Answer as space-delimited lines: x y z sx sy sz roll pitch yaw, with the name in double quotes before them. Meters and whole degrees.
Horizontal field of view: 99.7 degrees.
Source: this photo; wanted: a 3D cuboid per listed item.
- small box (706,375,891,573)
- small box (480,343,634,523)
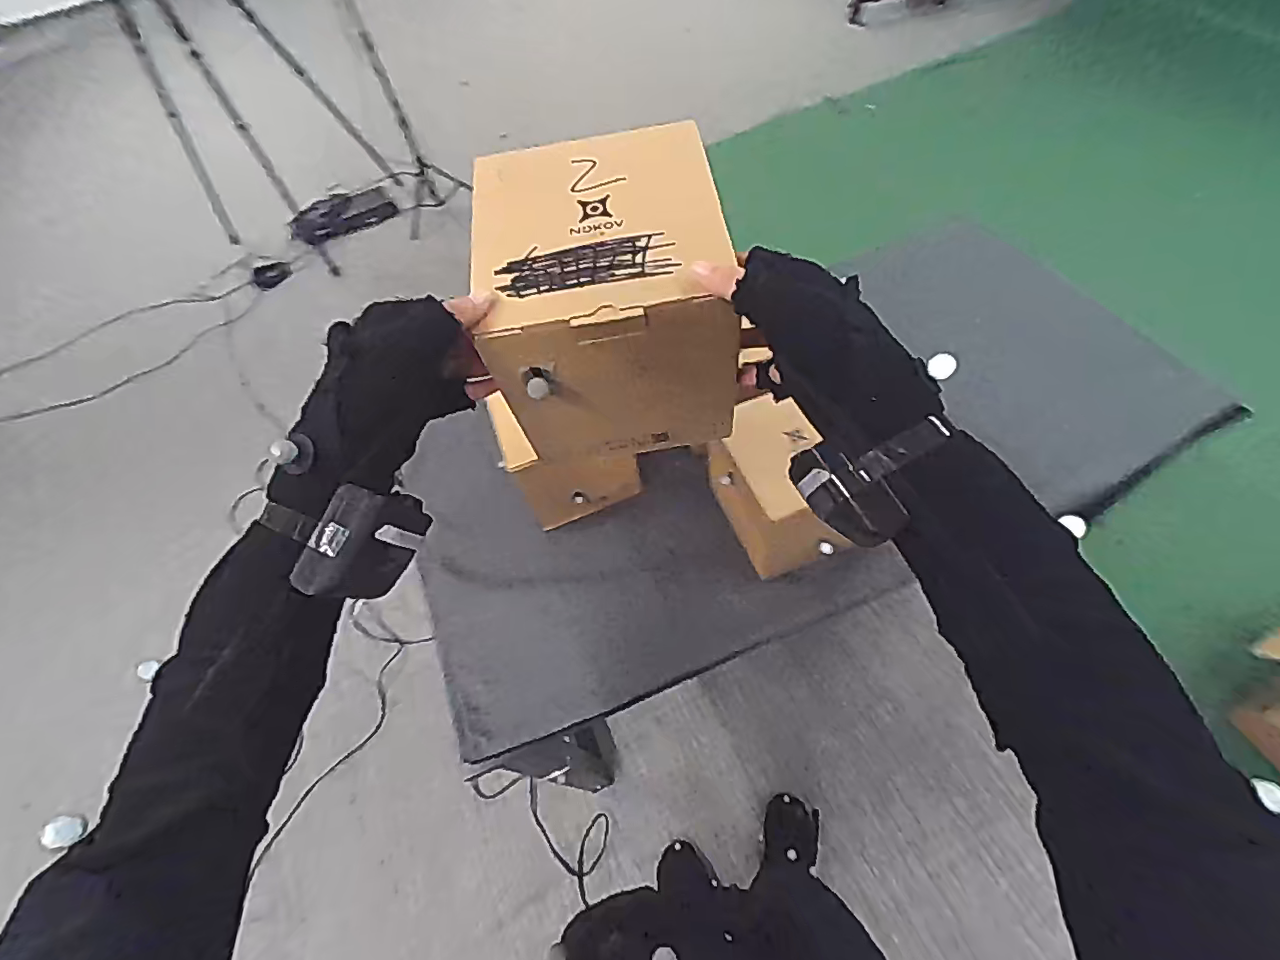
"small box" 0.196 -0.005 0.728 0.168 0.176 0.179 -21 57 -6
"small box" -0.119 -0.067 0.812 0.168 0.176 0.179 -22 58 -7
